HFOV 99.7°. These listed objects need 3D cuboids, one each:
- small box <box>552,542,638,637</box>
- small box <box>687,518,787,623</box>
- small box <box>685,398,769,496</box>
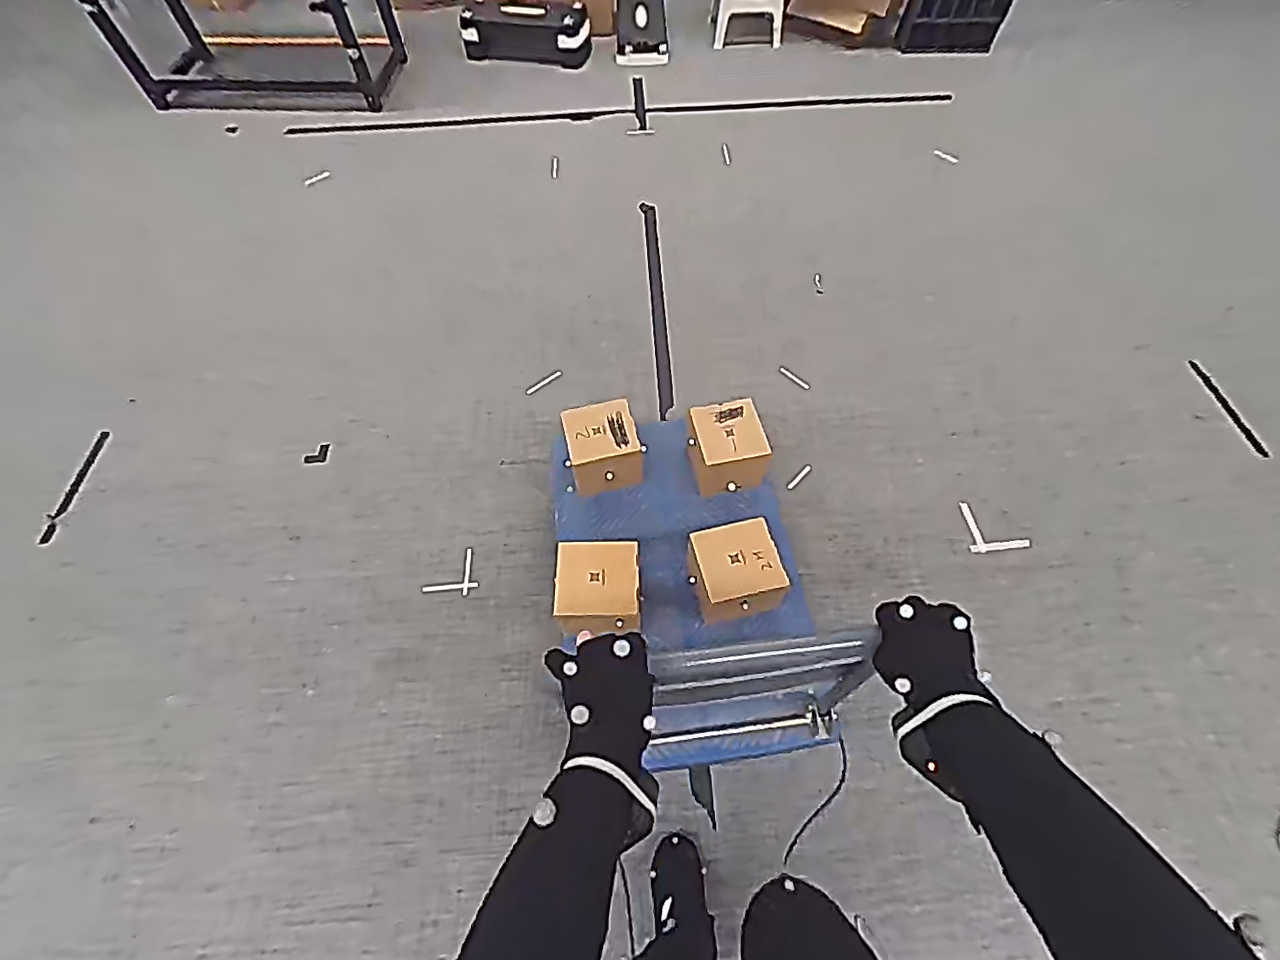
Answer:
[{"bbox_3d":[-0.094,0.249,1.207,0.179,0.176,0.168,-1,59,-1],"label":"small box"},{"bbox_3d":[0.209,0.210,1.222,0.179,0.176,0.168,-12,60,-6],"label":"small box"},{"bbox_3d":[0.215,-0.081,1.392,0.168,0.176,0.179,-11,61,-5],"label":"small box"}]
